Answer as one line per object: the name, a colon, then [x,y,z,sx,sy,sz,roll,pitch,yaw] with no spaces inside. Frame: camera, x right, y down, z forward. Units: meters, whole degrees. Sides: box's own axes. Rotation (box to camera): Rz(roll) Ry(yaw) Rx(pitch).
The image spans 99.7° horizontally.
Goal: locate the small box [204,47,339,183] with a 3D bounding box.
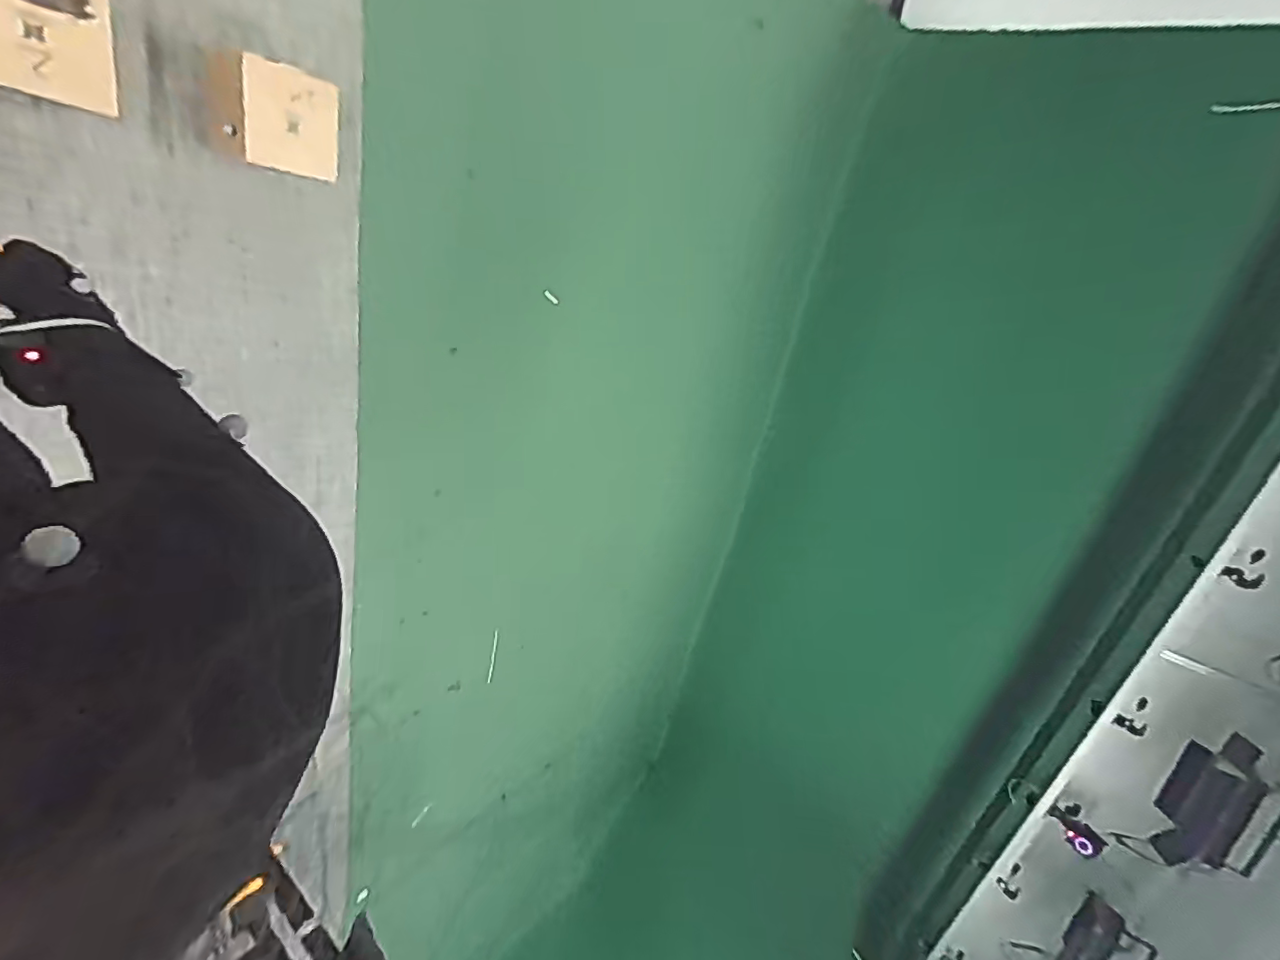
small box: [-0.716,-0.705,1.053,0.168,0.176,0.179,-19,129,-54]
